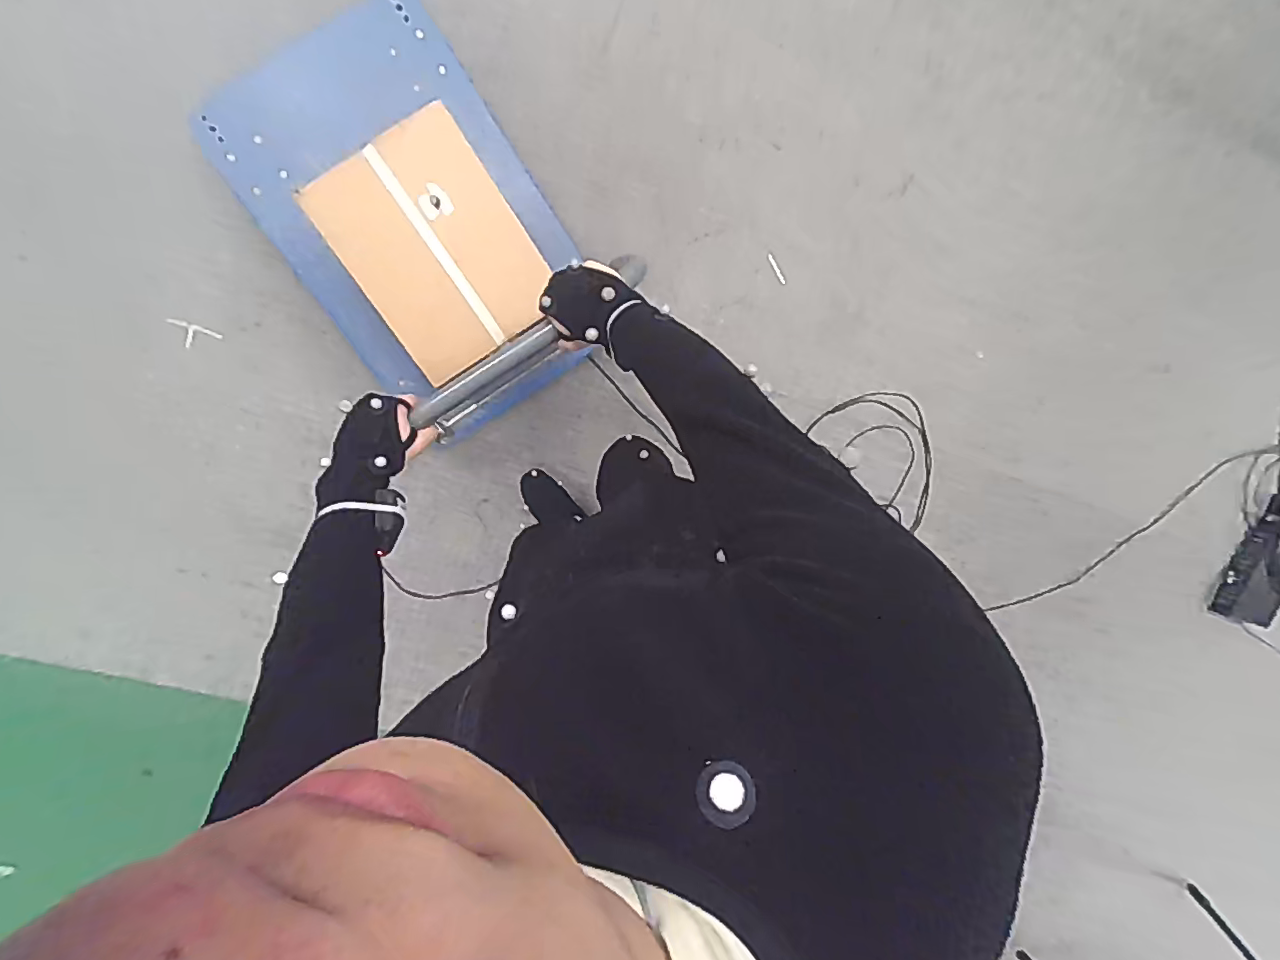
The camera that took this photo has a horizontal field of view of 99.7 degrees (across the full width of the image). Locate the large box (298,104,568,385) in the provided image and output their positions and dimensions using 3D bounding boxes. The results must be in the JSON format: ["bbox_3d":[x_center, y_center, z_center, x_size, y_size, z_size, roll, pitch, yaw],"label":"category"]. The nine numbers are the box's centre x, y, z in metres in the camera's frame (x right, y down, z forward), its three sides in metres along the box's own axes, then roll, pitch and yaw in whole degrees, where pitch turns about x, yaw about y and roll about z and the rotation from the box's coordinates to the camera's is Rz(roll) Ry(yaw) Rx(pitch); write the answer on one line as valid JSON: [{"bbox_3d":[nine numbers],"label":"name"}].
[{"bbox_3d":[-0.390,-0.450,1.141,0.320,0.320,0.408,-35,102,-2],"label":"large box"}]
